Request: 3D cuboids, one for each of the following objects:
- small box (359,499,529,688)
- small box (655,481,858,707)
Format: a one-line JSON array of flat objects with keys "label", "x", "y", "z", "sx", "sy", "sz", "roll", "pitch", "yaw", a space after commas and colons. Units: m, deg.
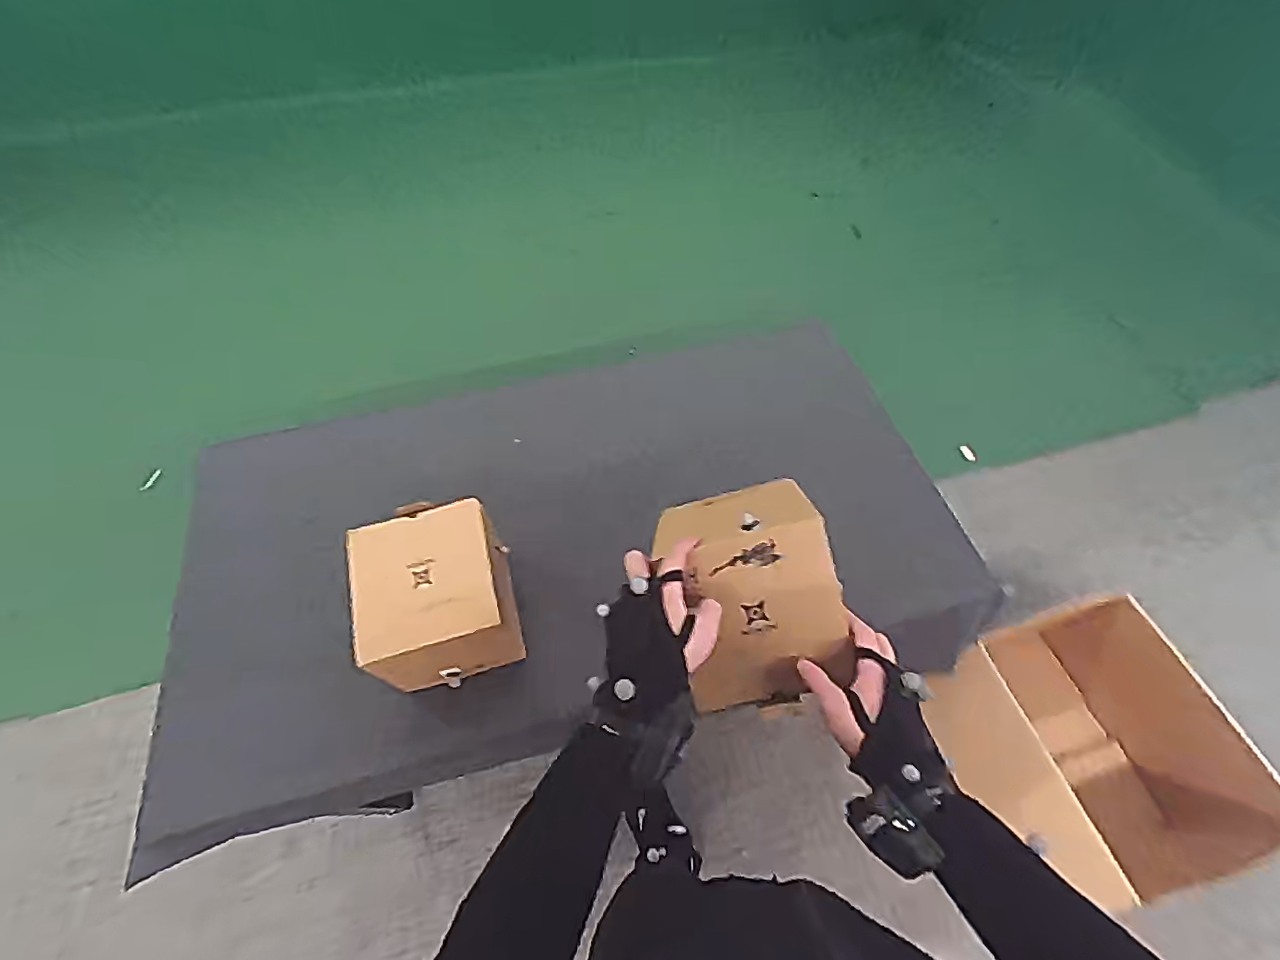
[{"label": "small box", "x": -0.255, "y": 0.155, "z": 0.721, "sx": 0.168, "sy": 0.176, "sz": 0.179, "roll": -15, "pitch": 60, "yaw": -9}, {"label": "small box", "x": 0.124, "y": 0.116, "z": 0.602, "sx": 0.168, "sy": 0.176, "sz": 0.179, "roll": -15, "pitch": 100, "yaw": 9}]
